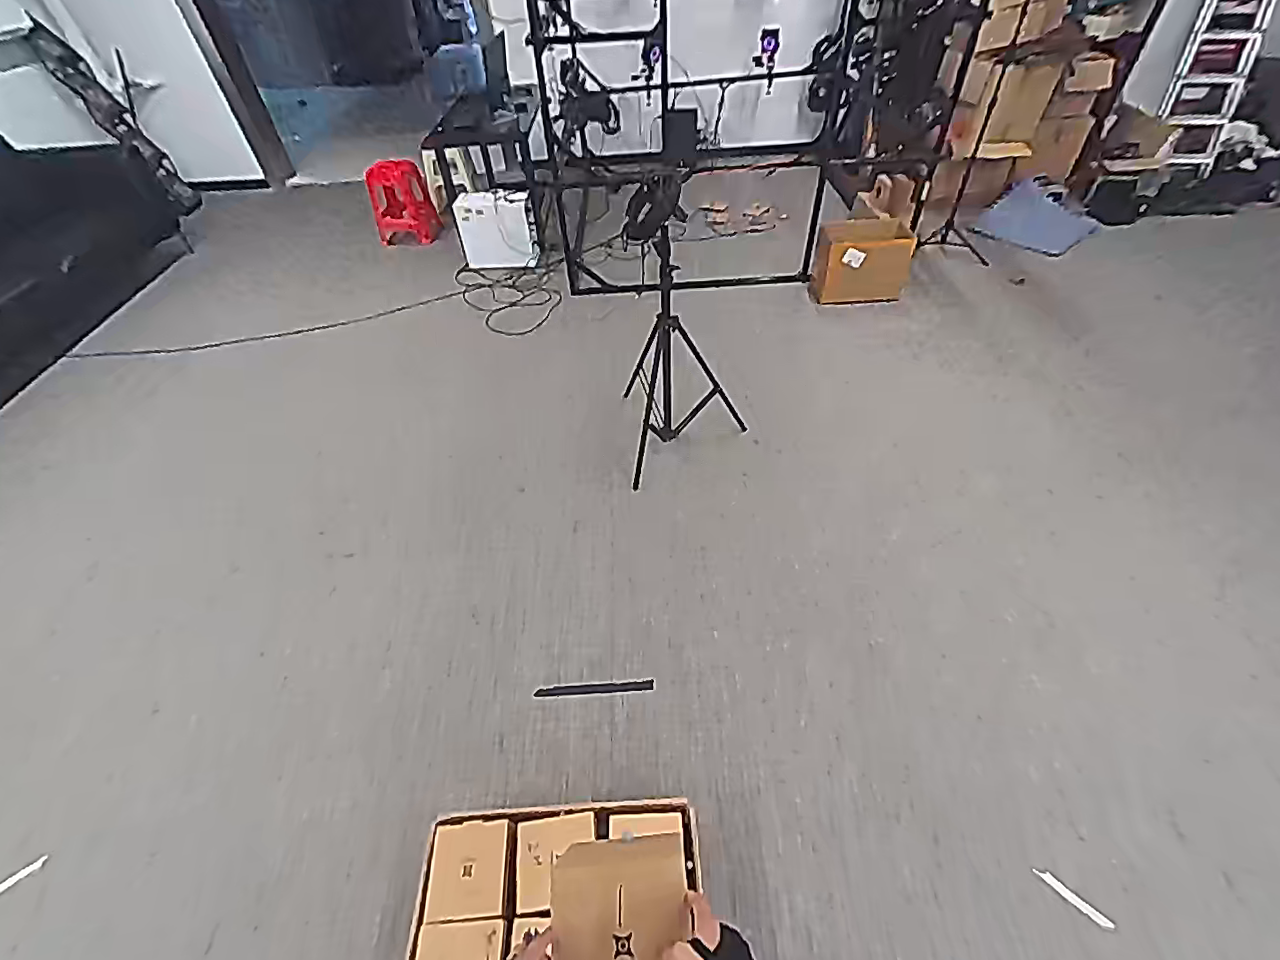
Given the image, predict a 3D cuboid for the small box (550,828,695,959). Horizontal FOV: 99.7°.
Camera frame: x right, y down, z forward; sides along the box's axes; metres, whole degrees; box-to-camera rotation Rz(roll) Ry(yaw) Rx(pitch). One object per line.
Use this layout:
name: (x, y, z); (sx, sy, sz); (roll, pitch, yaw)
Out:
small box: (-0.017, 0.569, 0.692); (0.168, 0.176, 0.179); (-6, 66, 0)
